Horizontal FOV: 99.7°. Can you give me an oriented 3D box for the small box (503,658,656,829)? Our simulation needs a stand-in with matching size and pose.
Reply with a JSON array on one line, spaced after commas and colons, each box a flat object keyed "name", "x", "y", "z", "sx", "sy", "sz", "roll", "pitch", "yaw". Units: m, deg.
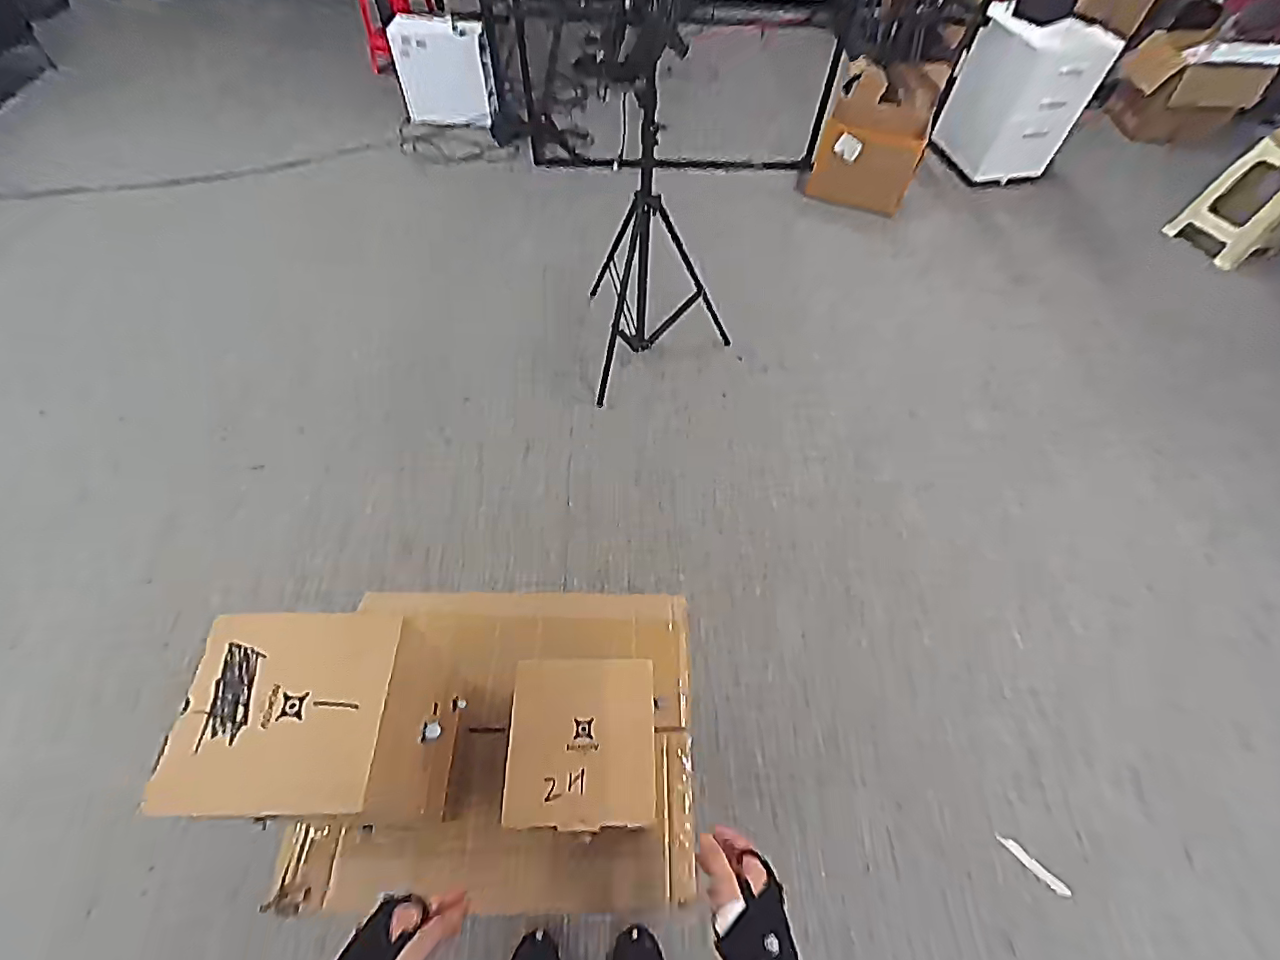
[{"name": "small box", "x": -0.065, "y": 0.336, "z": 0.684, "sx": 0.168, "sy": 0.176, "sz": 0.179, "roll": -1, "pitch": 57, "yaw": 0}]

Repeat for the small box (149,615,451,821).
[{"name": "small box", "x": -0.310, "y": 0.243, "z": 0.543, "sx": 0.179, "sy": 0.176, "sz": 0.168, "roll": 0, "pitch": 57, "yaw": -3}]

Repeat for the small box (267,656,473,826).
[{"name": "small box", "x": -0.318, "y": 0.331, "z": 0.682, "sx": 0.168, "sy": 0.176, "sz": 0.179, "roll": 0, "pitch": 58, "yaw": -2}]
